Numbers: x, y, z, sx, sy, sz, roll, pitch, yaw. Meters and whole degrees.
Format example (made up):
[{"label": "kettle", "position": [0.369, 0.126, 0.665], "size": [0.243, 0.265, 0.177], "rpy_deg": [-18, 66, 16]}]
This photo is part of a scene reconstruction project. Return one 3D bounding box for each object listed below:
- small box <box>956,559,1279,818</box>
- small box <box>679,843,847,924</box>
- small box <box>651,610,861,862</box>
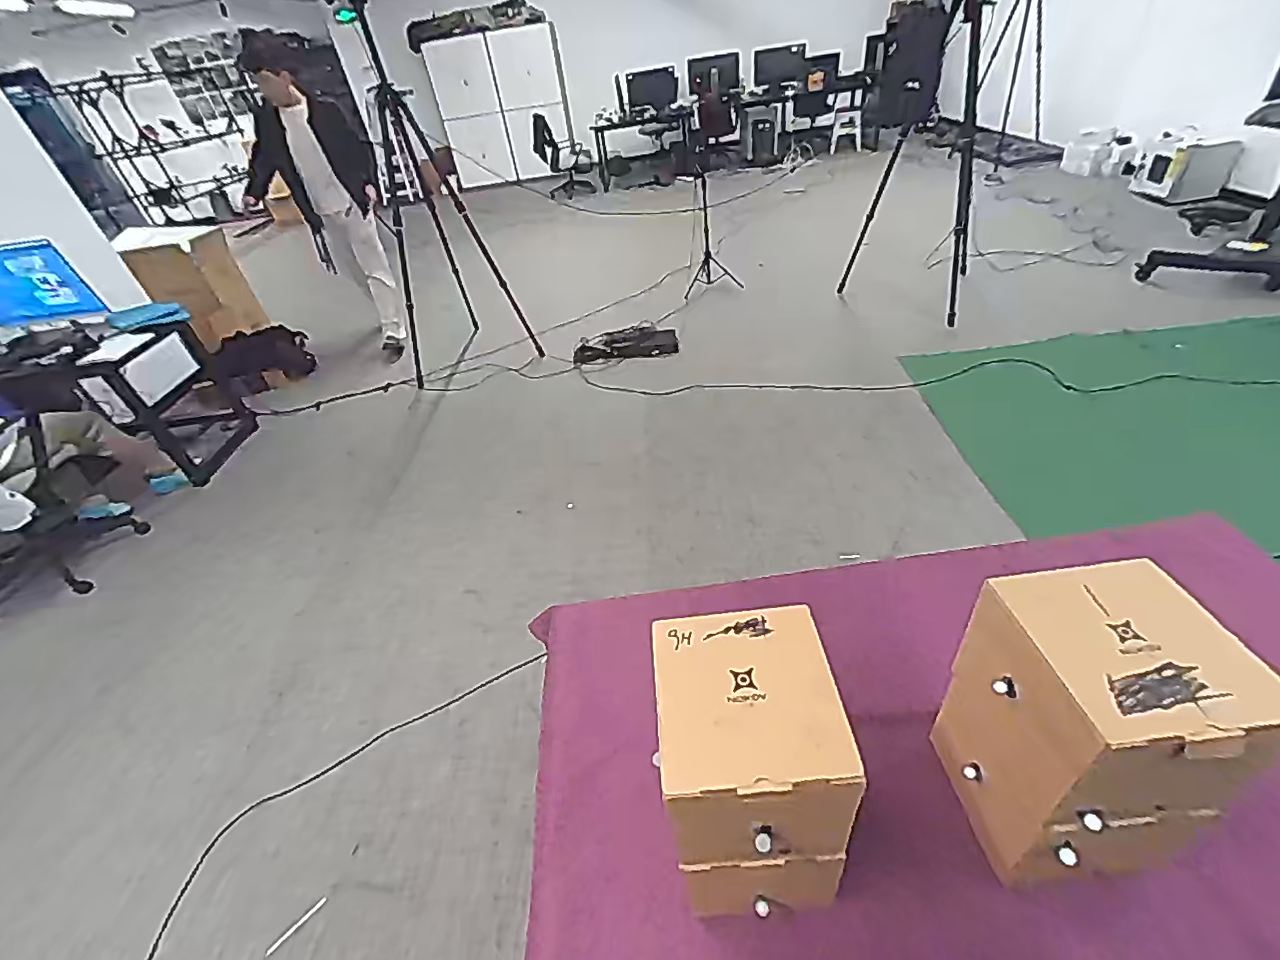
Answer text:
[{"label": "small box", "position": [0.448, 0.207, 0.534], "size": [0.168, 0.176, 0.179], "rpy_deg": [-9, 37, 2]}, {"label": "small box", "position": [0.129, 0.391, 0.643], "size": [0.168, 0.176, 0.179], "rpy_deg": [-8, 38, 3]}, {"label": "small box", "position": [0.106, 0.260, 0.545], "size": [0.168, 0.176, 0.179], "rpy_deg": [-7, 38, 3]}]
